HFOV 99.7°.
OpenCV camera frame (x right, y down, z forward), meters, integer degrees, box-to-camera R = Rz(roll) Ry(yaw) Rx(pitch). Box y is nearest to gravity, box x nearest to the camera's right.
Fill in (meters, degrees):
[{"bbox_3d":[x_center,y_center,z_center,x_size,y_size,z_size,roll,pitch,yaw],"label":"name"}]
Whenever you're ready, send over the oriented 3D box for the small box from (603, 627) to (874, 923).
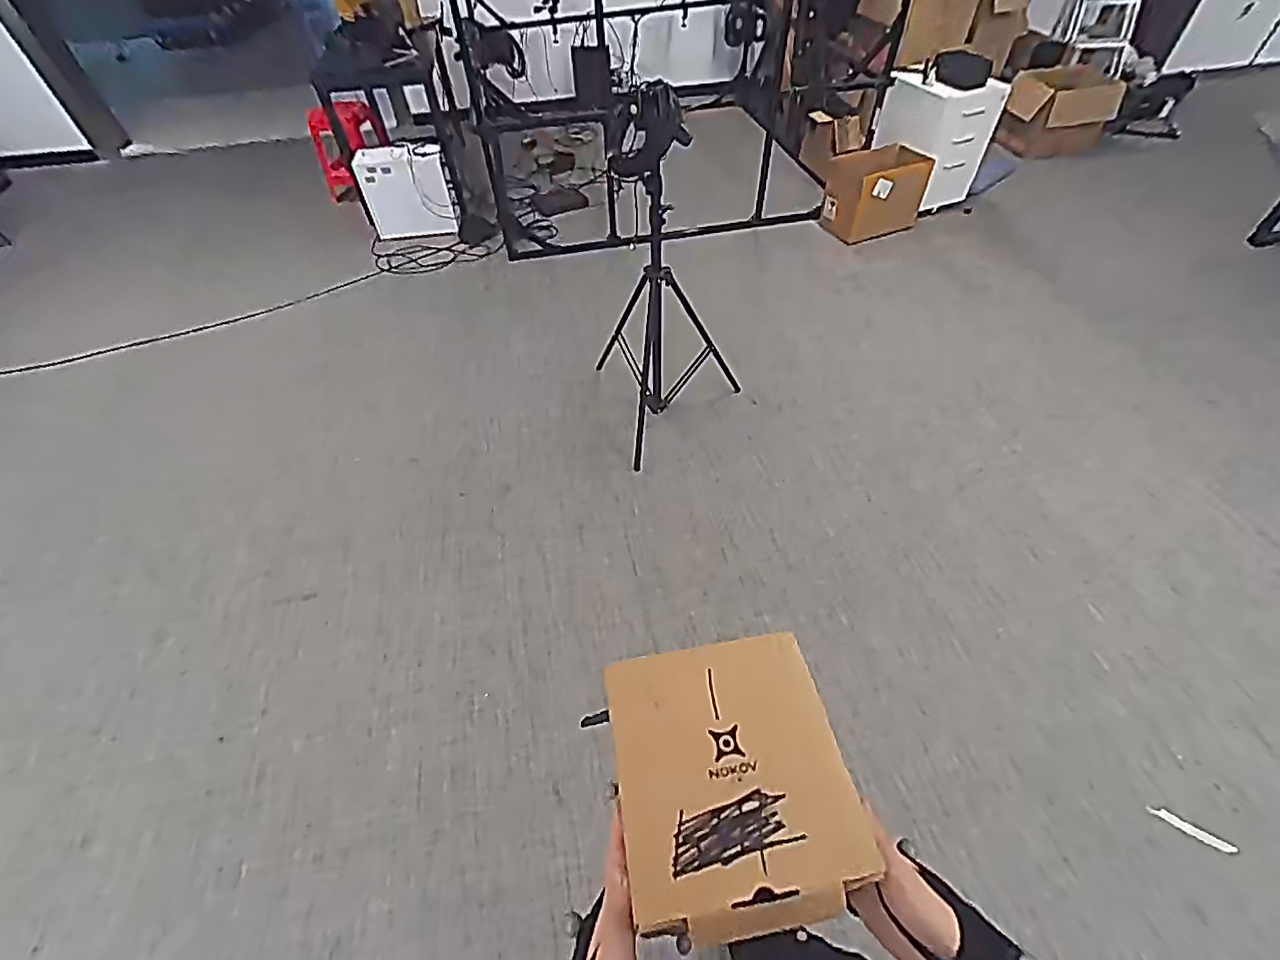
[{"bbox_3d":[0.065,0.253,0.459,0.168,0.176,0.179,-8,48,-5],"label":"small box"}]
